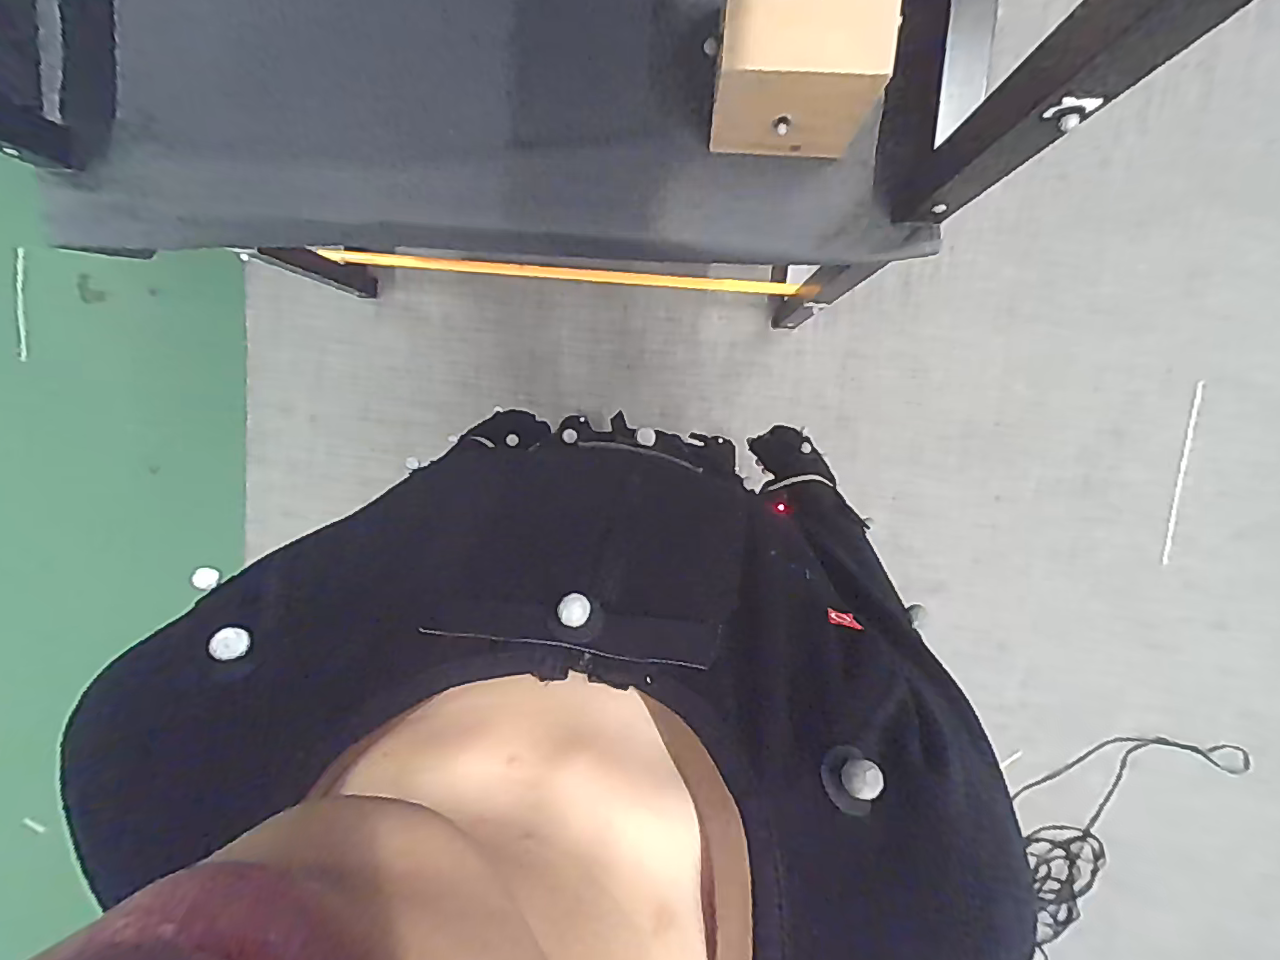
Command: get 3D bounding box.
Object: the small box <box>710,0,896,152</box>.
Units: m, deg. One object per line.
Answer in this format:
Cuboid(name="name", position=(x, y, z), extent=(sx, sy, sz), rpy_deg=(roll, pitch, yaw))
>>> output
Cuboid(name="small box", position=(0.170, -0.491, 0.595), extent=(0.168, 0.176, 0.179), rpy_deg=(5, 96, 2))
